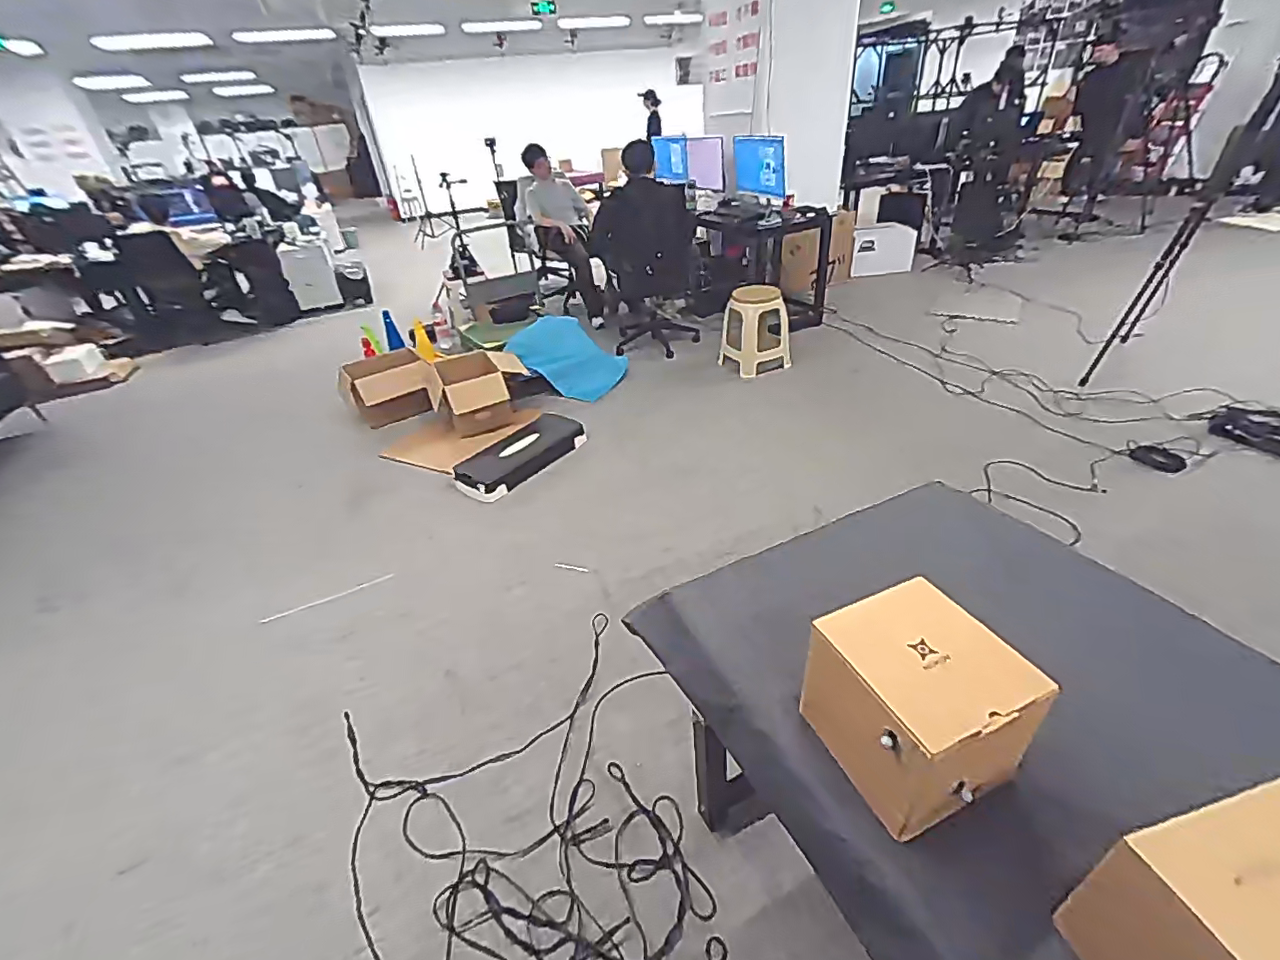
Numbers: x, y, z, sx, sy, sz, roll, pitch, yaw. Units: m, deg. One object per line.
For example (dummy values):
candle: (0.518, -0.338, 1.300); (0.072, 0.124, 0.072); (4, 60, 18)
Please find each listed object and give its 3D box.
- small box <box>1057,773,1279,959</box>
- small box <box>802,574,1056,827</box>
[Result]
small box: (0.474, 0.366, 0.404); (0.168, 0.176, 0.179); (-11, 33, -10)
small box: (0.304, 0.243, 0.614); (0.168, 0.176, 0.179); (-16, 36, -17)
